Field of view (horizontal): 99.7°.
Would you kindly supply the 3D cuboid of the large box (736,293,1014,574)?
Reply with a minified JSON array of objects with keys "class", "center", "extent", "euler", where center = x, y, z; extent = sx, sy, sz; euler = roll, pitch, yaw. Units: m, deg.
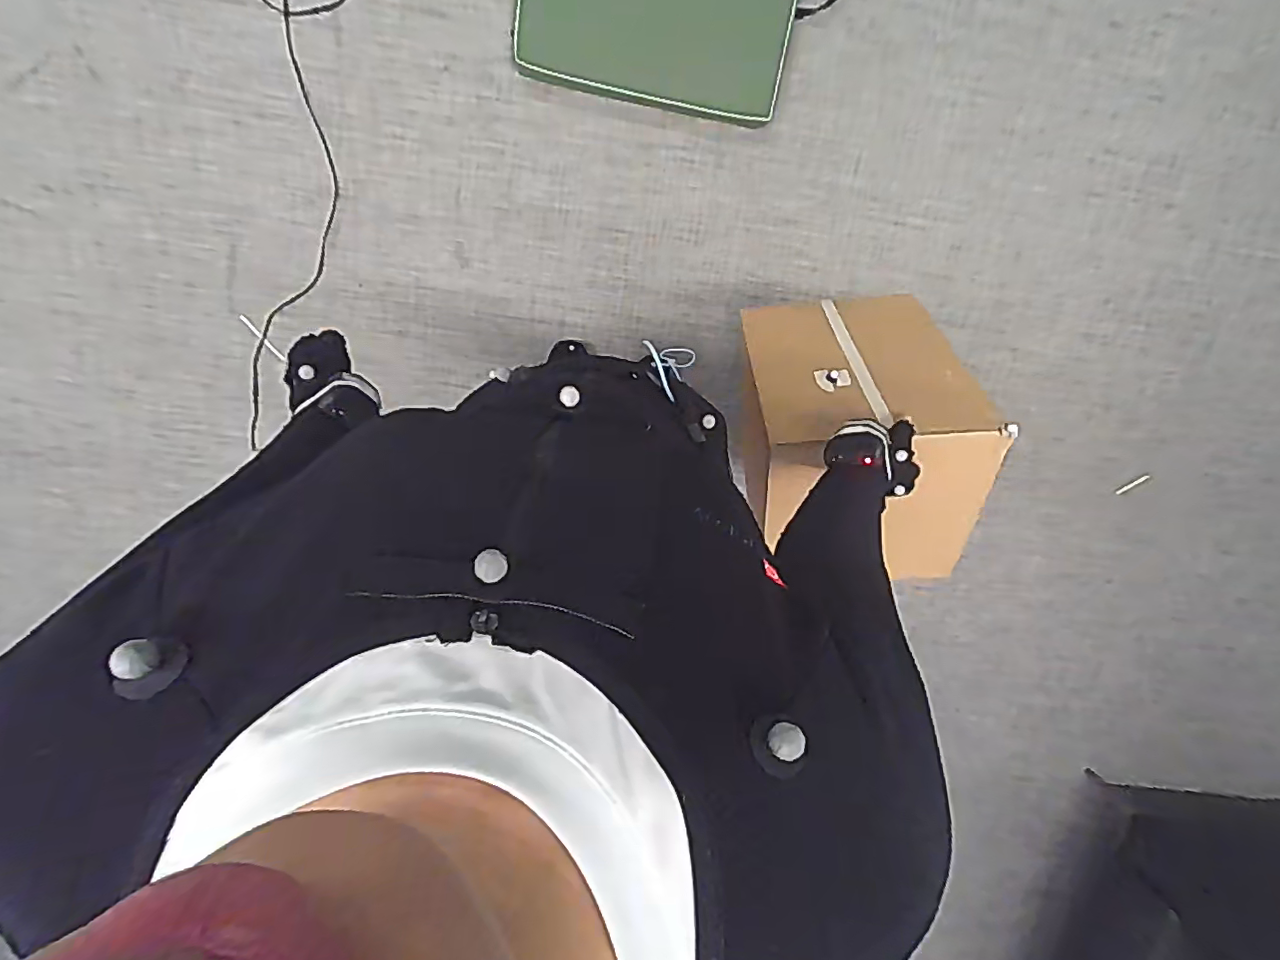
[{"class":"large box","center":[0.350,-0.089,0.955],"extent":[0.320,0.408,0.320],"euler":[-4,134,6]}]
